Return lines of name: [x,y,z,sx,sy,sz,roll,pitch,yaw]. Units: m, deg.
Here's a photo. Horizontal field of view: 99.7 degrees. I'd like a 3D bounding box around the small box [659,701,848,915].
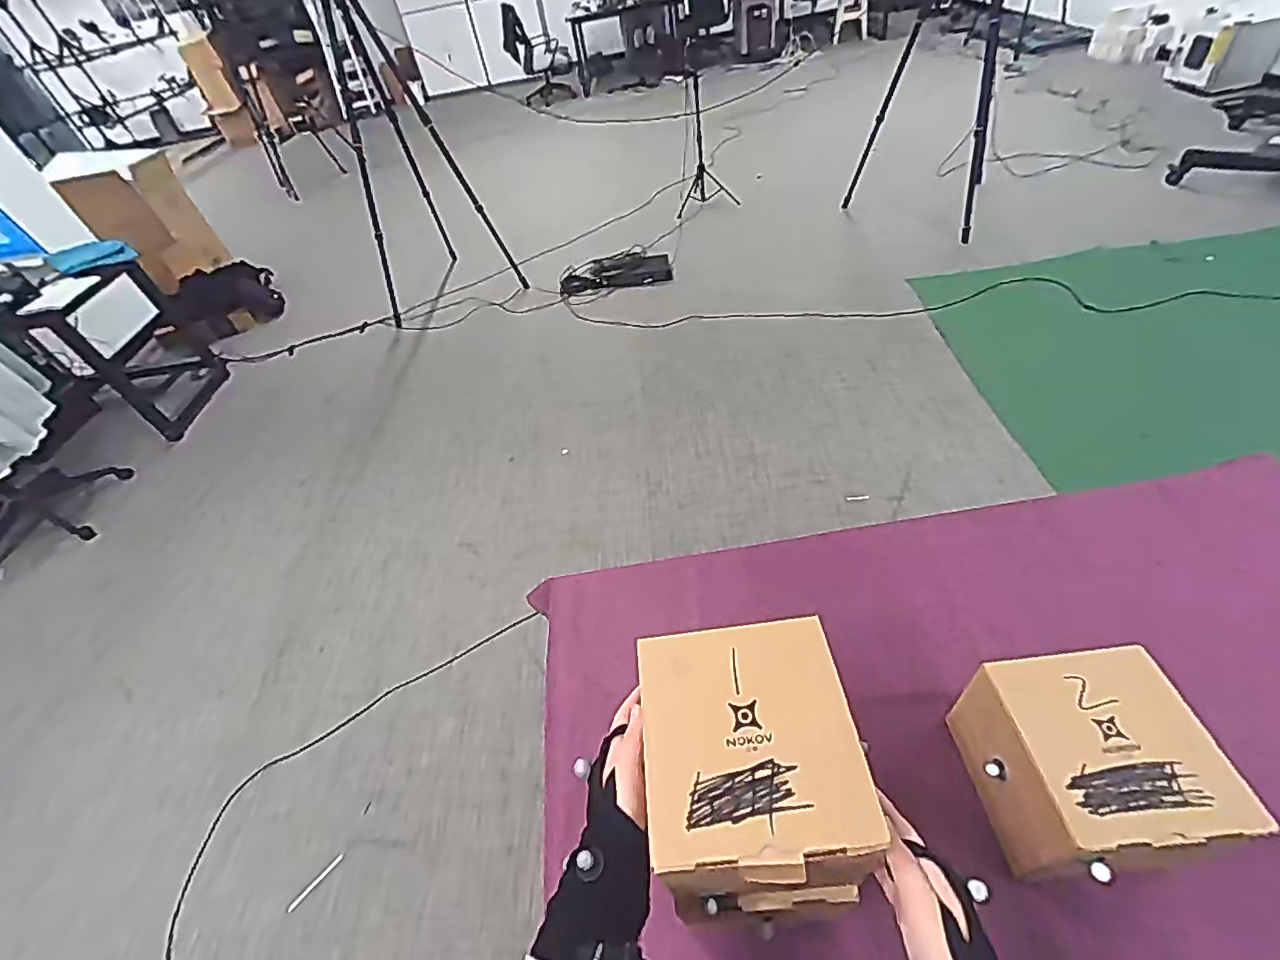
small box: [0.115,0.366,0.597,0.168,0.176,0.179,-6,48,4]
